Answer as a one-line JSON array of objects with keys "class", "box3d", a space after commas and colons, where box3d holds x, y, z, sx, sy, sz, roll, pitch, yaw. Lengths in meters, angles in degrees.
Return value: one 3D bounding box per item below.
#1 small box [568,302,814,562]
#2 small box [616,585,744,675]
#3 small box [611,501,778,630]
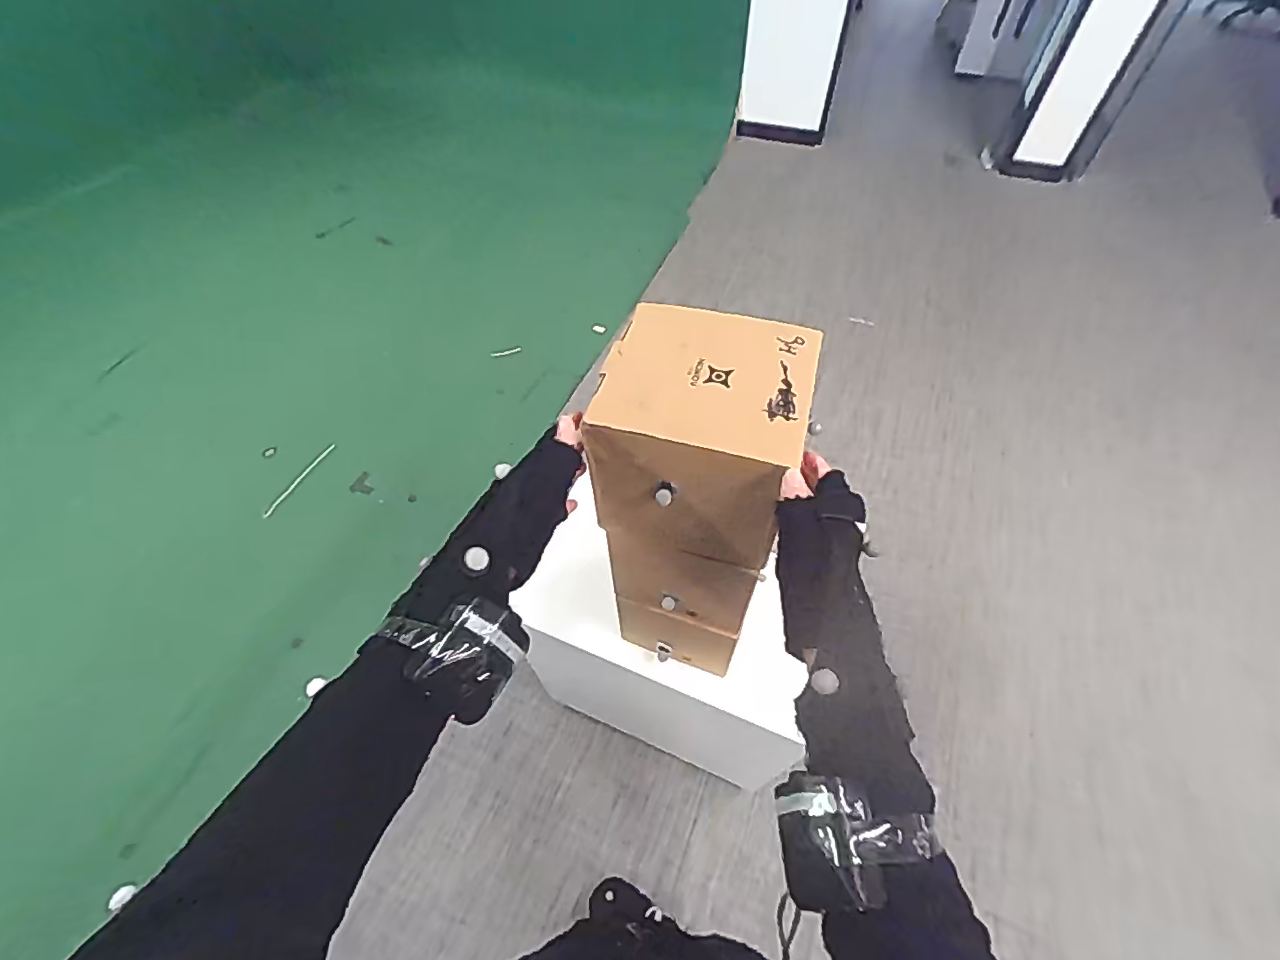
[{"class": "small box", "box3d": [0.053, -0.042, 0.518, 0.179, 0.176, 0.168, 13, 56, 13]}, {"class": "small box", "box3d": [0.076, 0.153, 0.781, 0.168, 0.176, 0.179, 15, 58, 14]}, {"class": "small box", "box3d": [0.070, 0.052, 0.652, 0.168, 0.176, 0.179, 13, 54, 12]}]
